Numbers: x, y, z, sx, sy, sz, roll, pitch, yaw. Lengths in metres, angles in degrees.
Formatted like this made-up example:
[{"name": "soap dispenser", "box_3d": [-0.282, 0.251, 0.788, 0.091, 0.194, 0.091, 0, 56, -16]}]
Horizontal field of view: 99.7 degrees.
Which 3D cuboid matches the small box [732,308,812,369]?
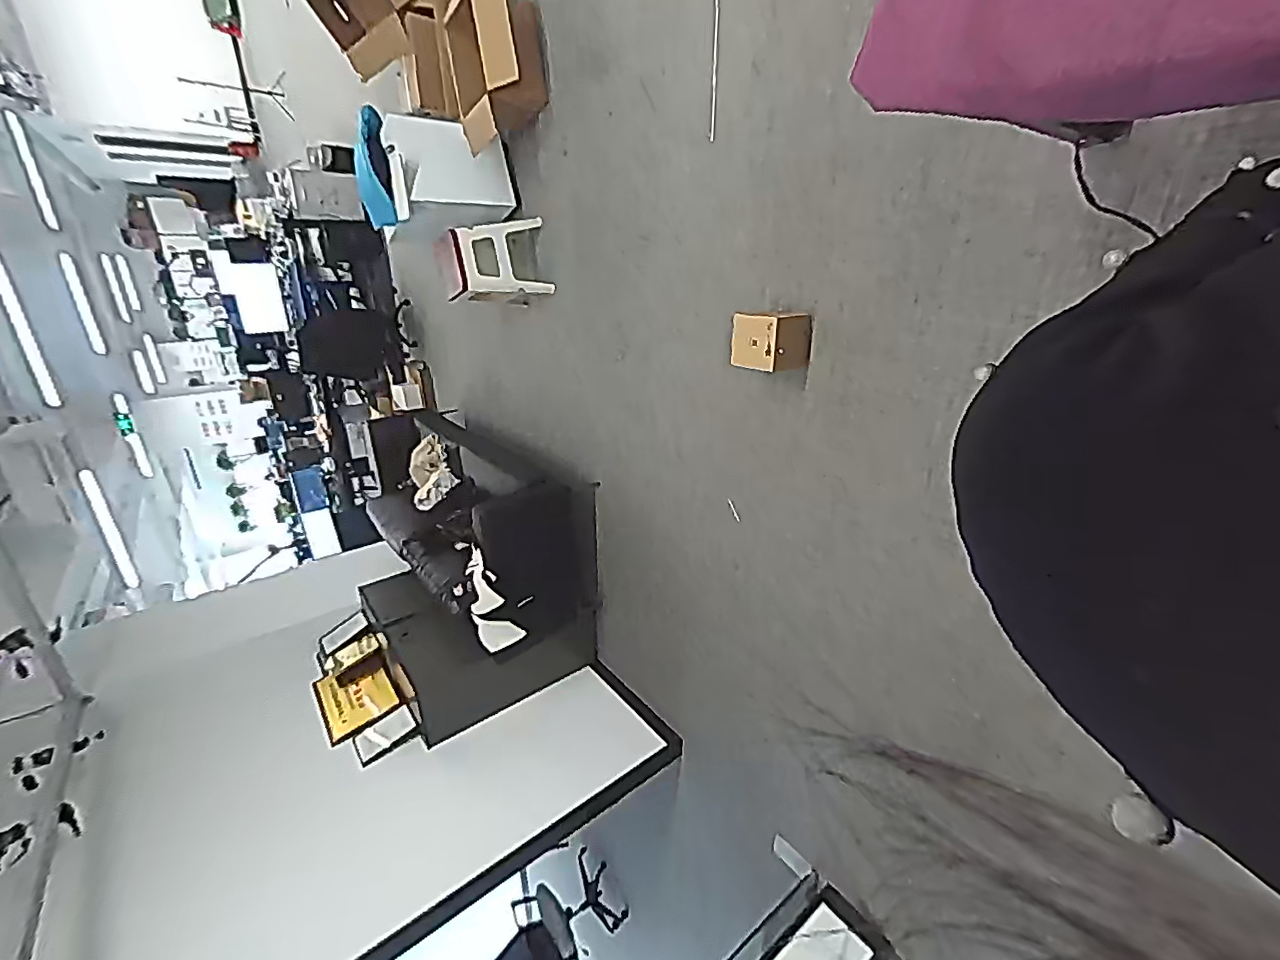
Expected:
[{"name": "small box", "box_3d": [0.423, -0.460, 1.741, 0.179, 0.176, 0.168, 27, 124, 47]}]
